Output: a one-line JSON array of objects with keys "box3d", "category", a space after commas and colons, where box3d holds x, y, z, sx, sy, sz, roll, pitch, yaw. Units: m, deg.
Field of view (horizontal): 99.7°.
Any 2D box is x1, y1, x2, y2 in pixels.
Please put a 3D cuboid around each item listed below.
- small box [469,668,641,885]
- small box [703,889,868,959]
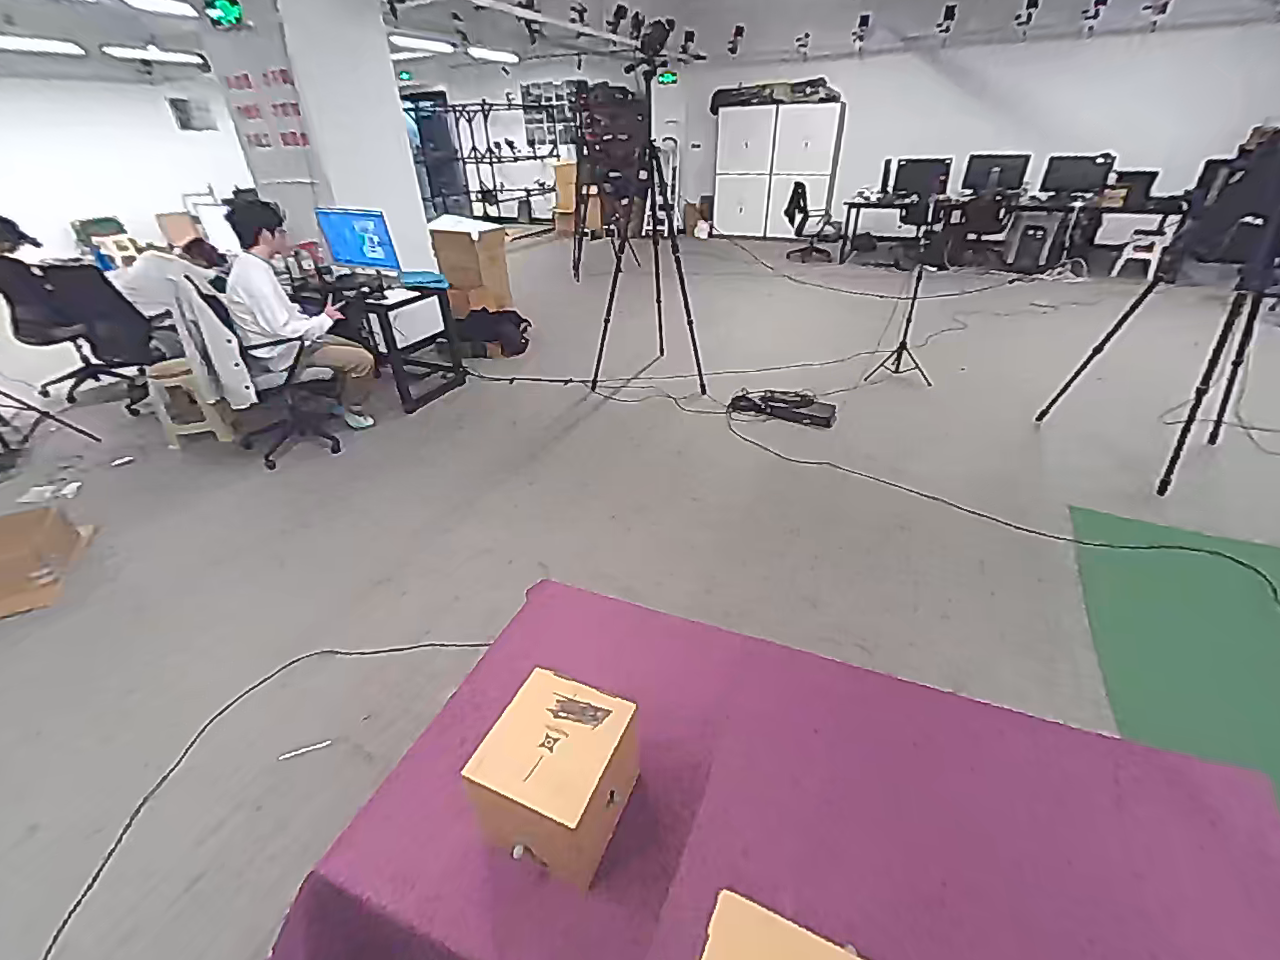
[{"box3d": [-0.107, 0.405, 0.751, 0.168, 0.176, 0.179, 12, 36, 21], "category": "small box"}, {"box3d": [0.116, 0.440, 0.373, 0.179, 0.176, 0.168, 11, 40, 26], "category": "small box"}]
